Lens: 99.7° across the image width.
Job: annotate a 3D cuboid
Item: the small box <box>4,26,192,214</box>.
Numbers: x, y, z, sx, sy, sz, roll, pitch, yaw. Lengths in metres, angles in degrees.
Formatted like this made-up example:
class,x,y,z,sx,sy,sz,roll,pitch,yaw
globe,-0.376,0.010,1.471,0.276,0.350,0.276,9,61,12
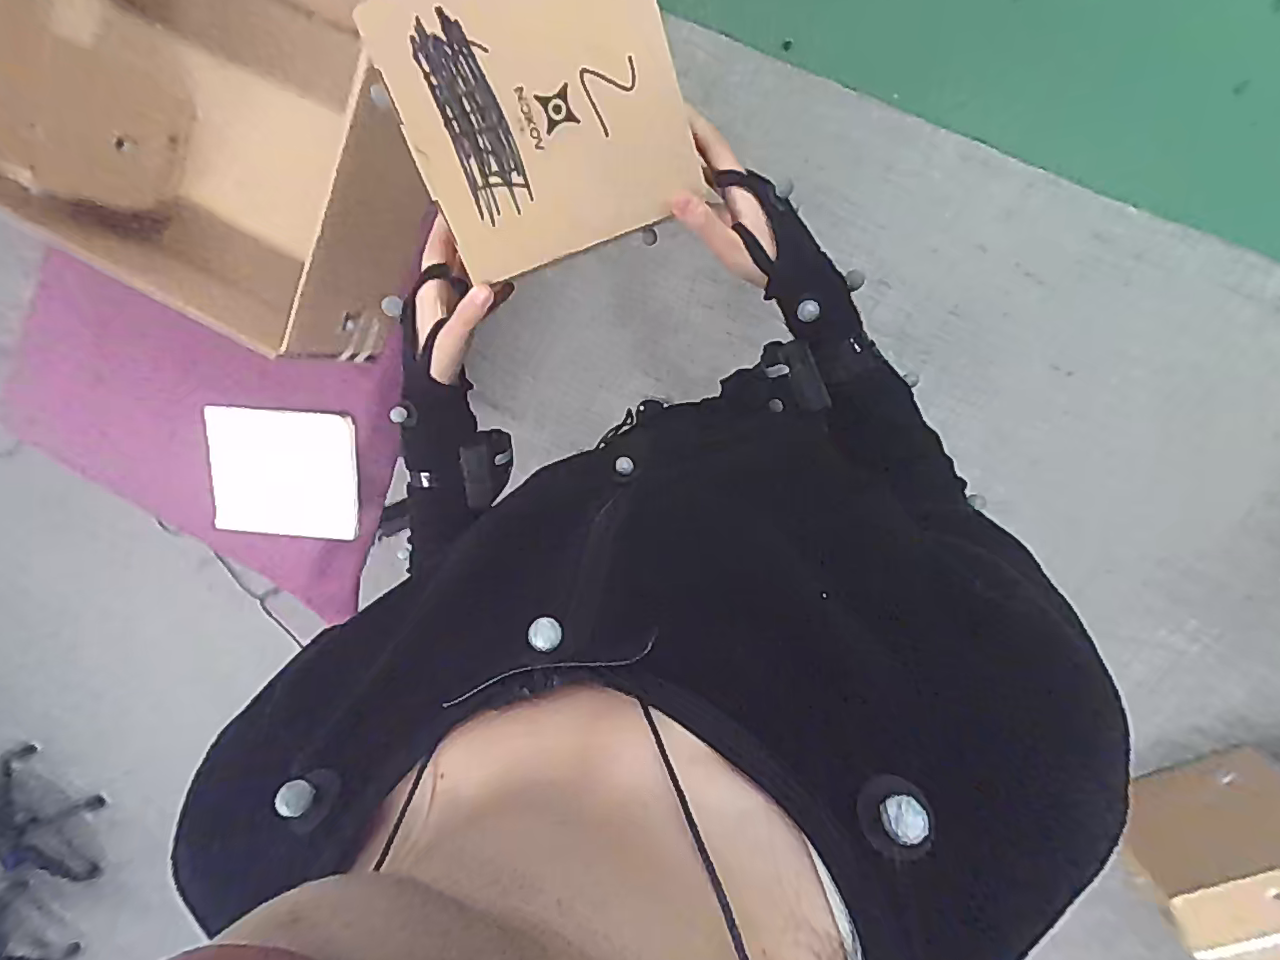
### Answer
class,x,y,z,sx,sy,sz,roll,pitch,yaw
small box,-0.723,-0.460,0.680,0.179,0.176,0.168,27,105,2
